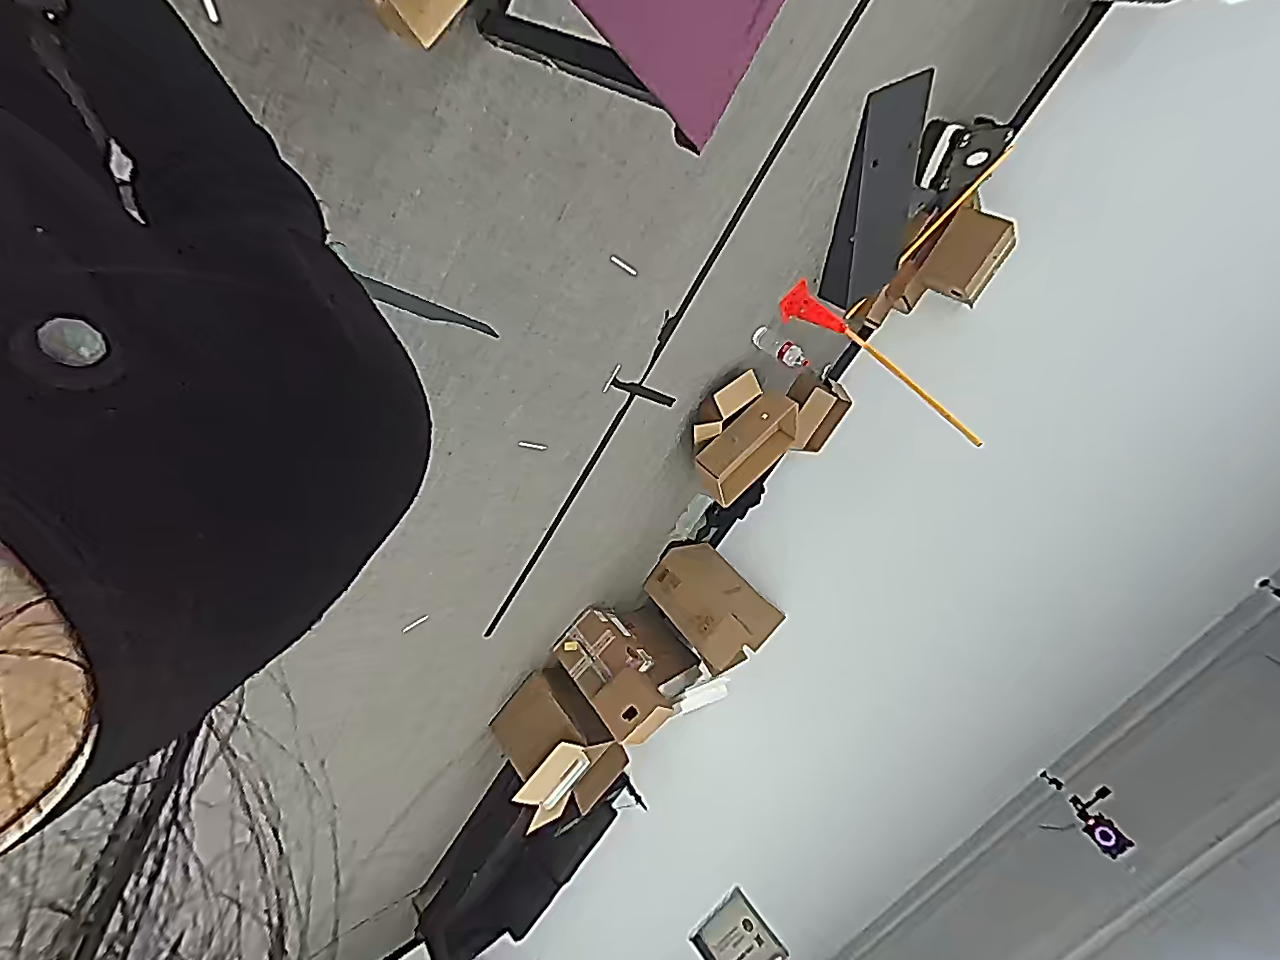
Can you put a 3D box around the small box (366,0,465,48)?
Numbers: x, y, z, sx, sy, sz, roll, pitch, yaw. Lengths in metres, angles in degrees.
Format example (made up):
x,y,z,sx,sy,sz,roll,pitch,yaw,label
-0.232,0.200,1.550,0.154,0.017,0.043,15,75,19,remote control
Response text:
x,y,z,sx,sy,sz,roll,pitch,yaw,label
-0.461,-0.995,1.039,0.168,0.176,0.179,-48,150,3,small box
